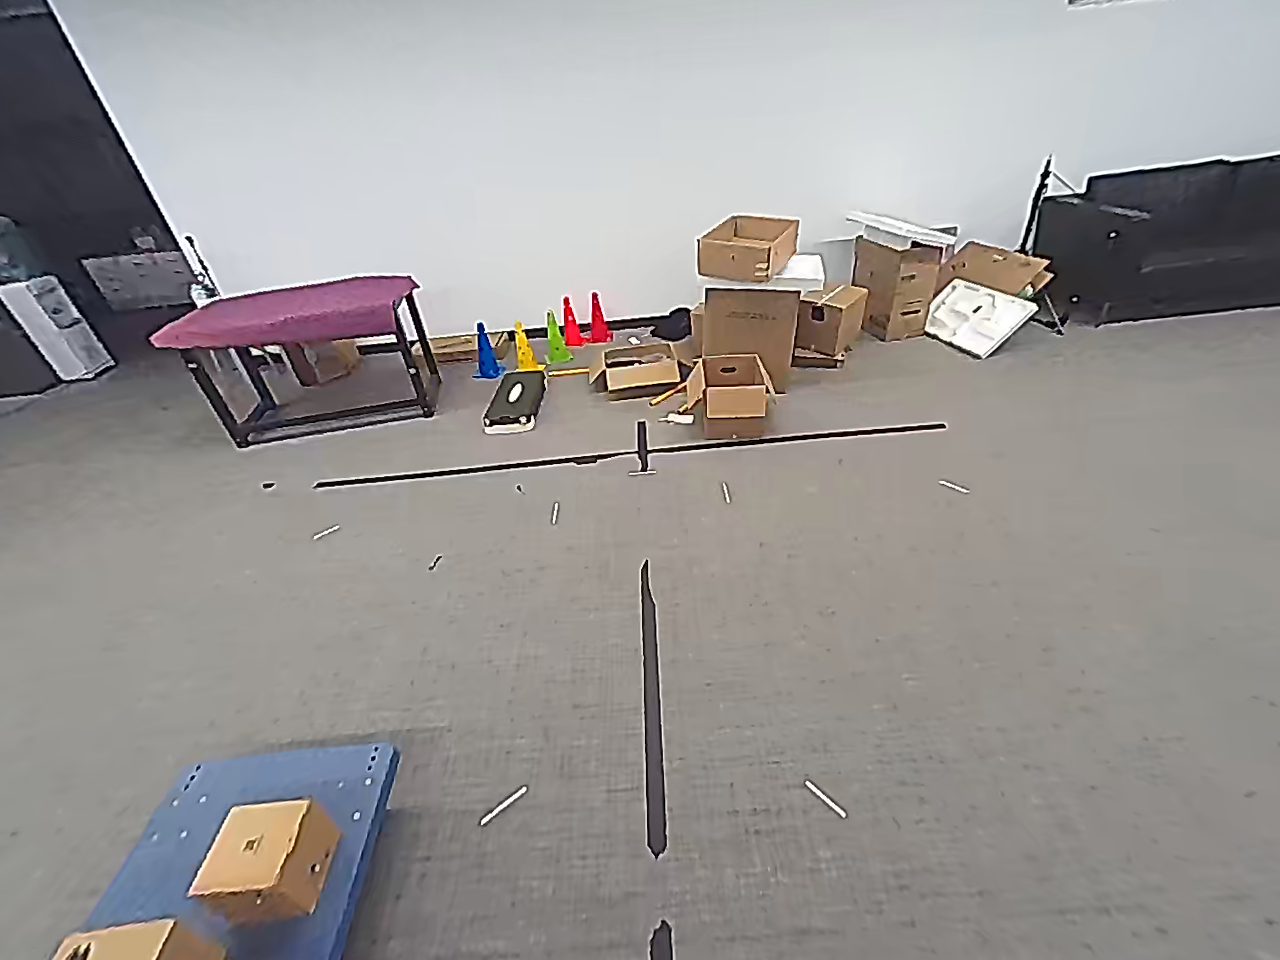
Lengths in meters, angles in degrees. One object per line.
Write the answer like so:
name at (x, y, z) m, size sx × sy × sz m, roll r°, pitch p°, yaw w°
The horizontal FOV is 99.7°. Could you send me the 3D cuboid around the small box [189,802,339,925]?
small box at (-0.793, 0.826, 1.163) m, size 0.179 × 0.176 × 0.168 m, roll -6°, pitch 35°, yaw 0°
